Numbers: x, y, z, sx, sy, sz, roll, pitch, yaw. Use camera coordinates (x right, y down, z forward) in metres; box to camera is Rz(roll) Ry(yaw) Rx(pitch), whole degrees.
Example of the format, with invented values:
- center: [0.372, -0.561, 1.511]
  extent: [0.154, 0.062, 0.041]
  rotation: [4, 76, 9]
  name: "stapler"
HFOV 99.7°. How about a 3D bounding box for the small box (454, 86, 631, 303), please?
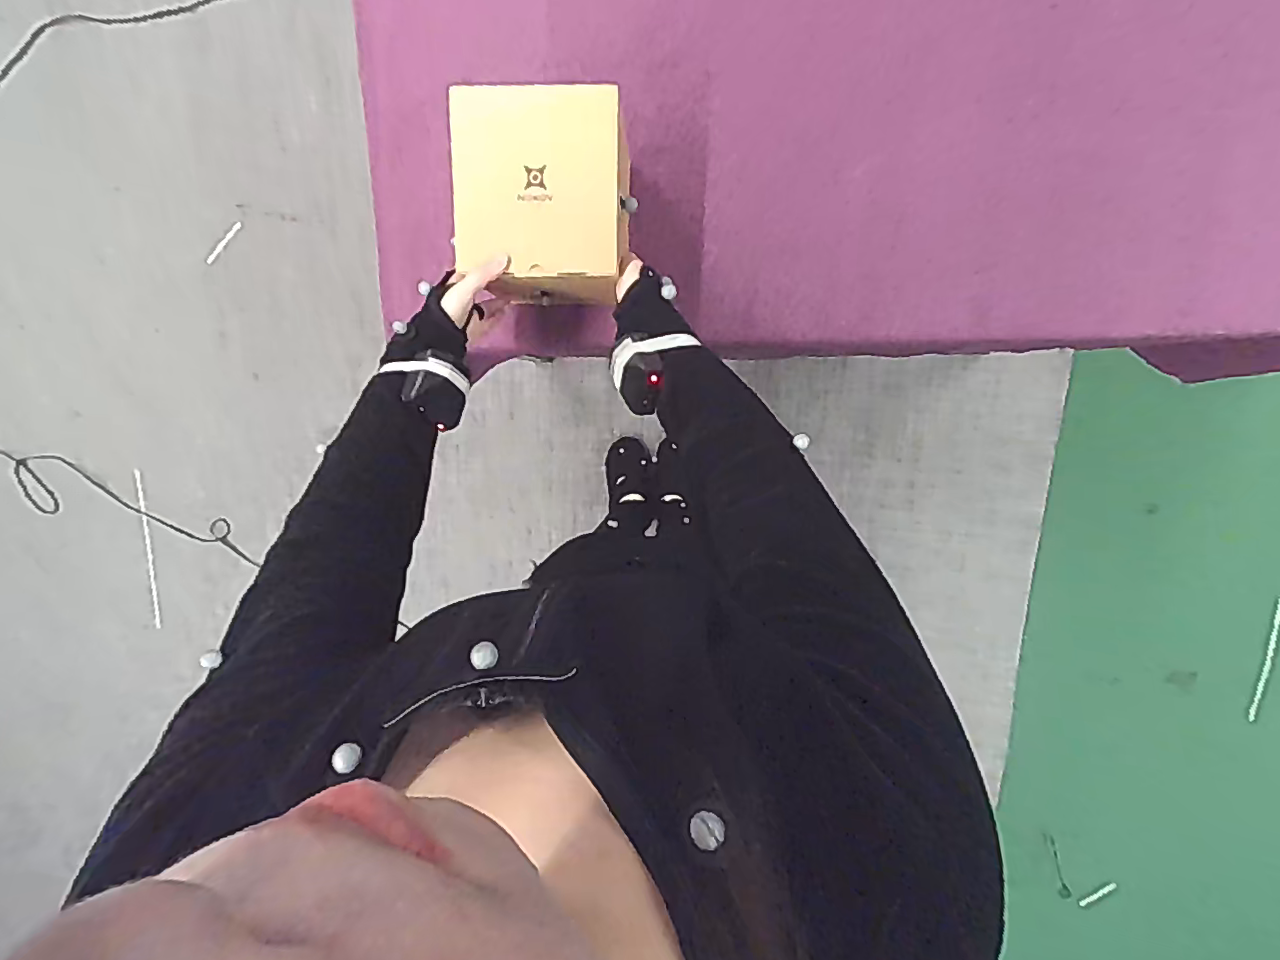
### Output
- center: [-0.098, -0.305, 0.610]
  extent: [0.168, 0.176, 0.179]
  rotation: [1, 101, 2]
  name: "small box"
